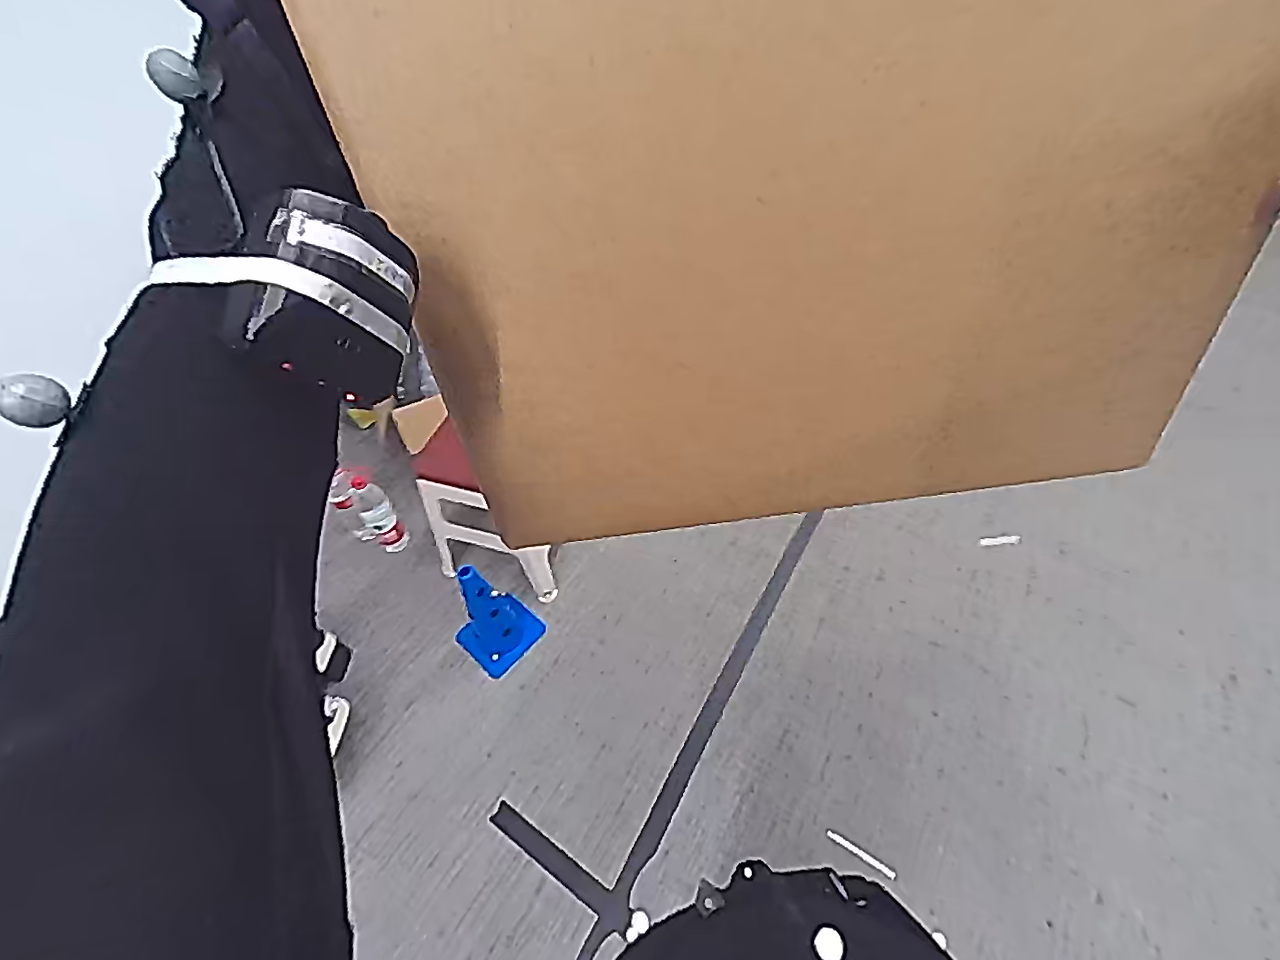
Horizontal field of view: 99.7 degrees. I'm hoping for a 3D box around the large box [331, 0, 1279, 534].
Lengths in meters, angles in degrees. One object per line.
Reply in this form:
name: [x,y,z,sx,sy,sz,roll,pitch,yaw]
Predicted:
large box: [0.085,-0.193,0.382,0.408,0.320,0.320,-7,37,2]
